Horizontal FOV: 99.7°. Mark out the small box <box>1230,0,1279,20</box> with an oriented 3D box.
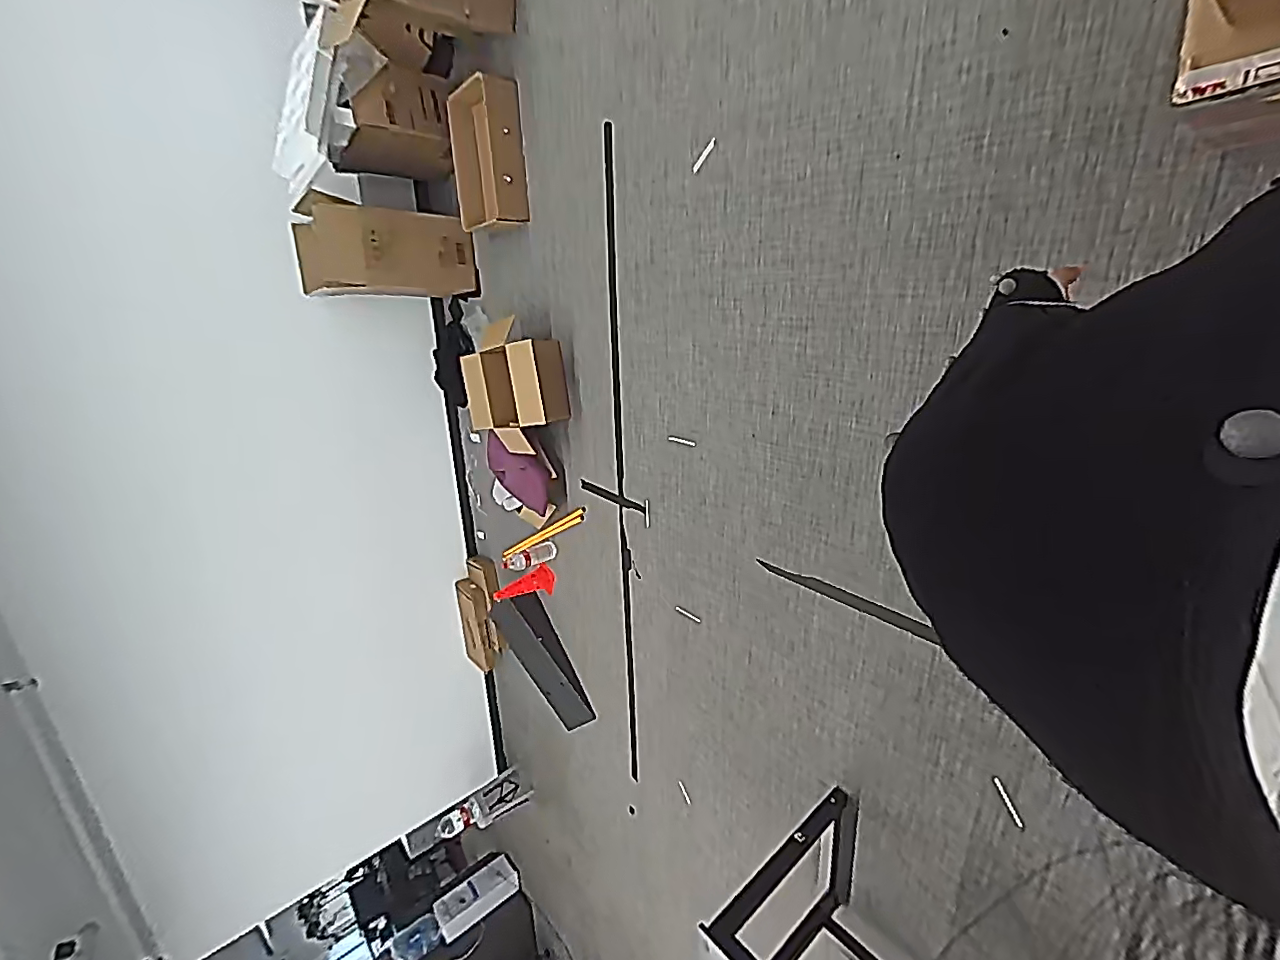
[{"bbox_3d":[0.679,-0.583,0.505,0.168,0.176,0.179,15,118,50],"label":"small box"}]
